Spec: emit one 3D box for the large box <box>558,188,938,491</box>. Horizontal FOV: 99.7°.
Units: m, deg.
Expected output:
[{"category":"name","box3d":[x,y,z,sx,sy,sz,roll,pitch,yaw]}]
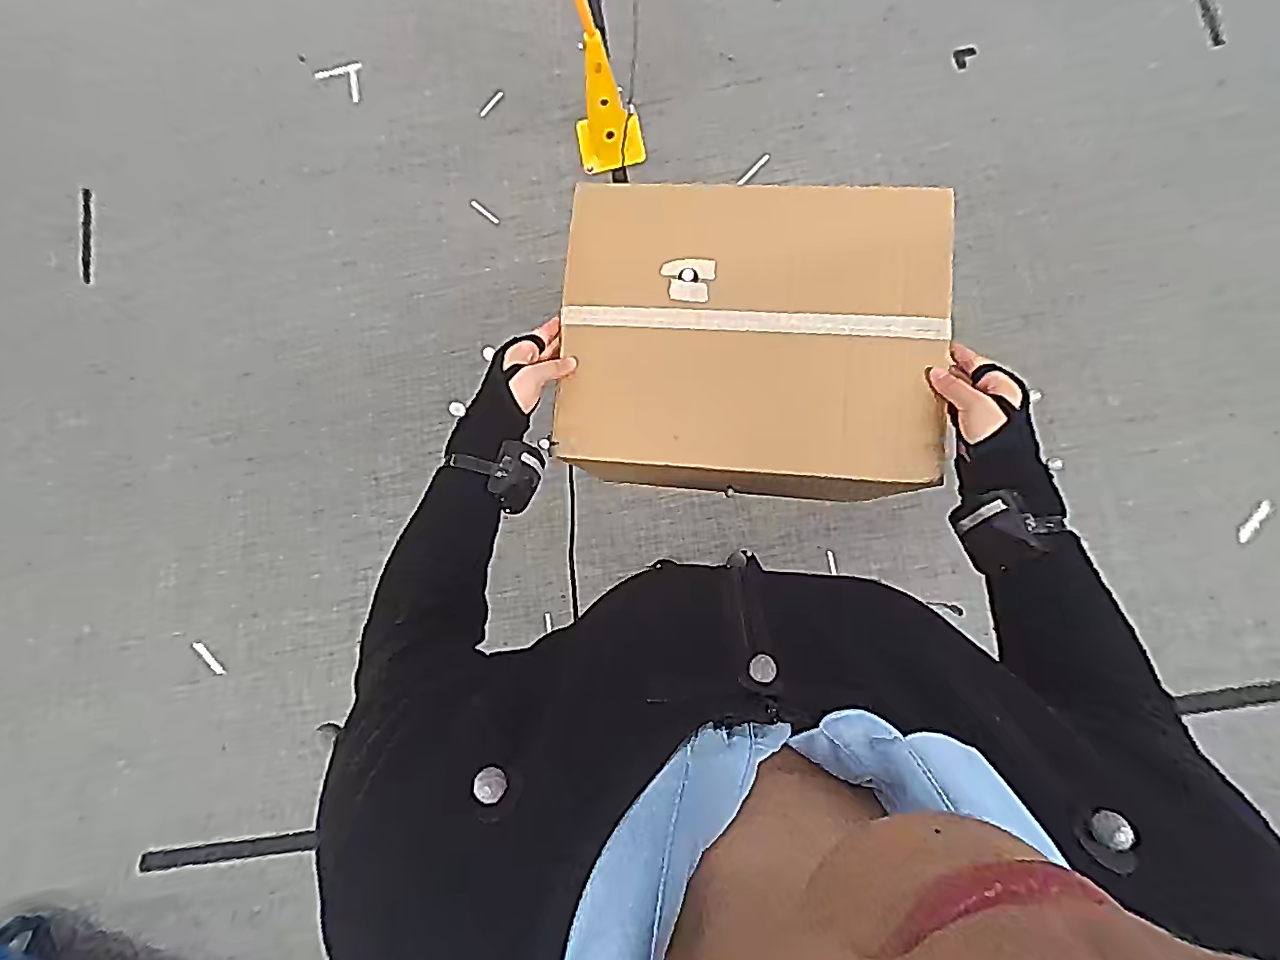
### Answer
[{"category":"large box","box3d":[0.133,-0.152,0.733,0.408,0.320,0.320,3,84,7]}]
